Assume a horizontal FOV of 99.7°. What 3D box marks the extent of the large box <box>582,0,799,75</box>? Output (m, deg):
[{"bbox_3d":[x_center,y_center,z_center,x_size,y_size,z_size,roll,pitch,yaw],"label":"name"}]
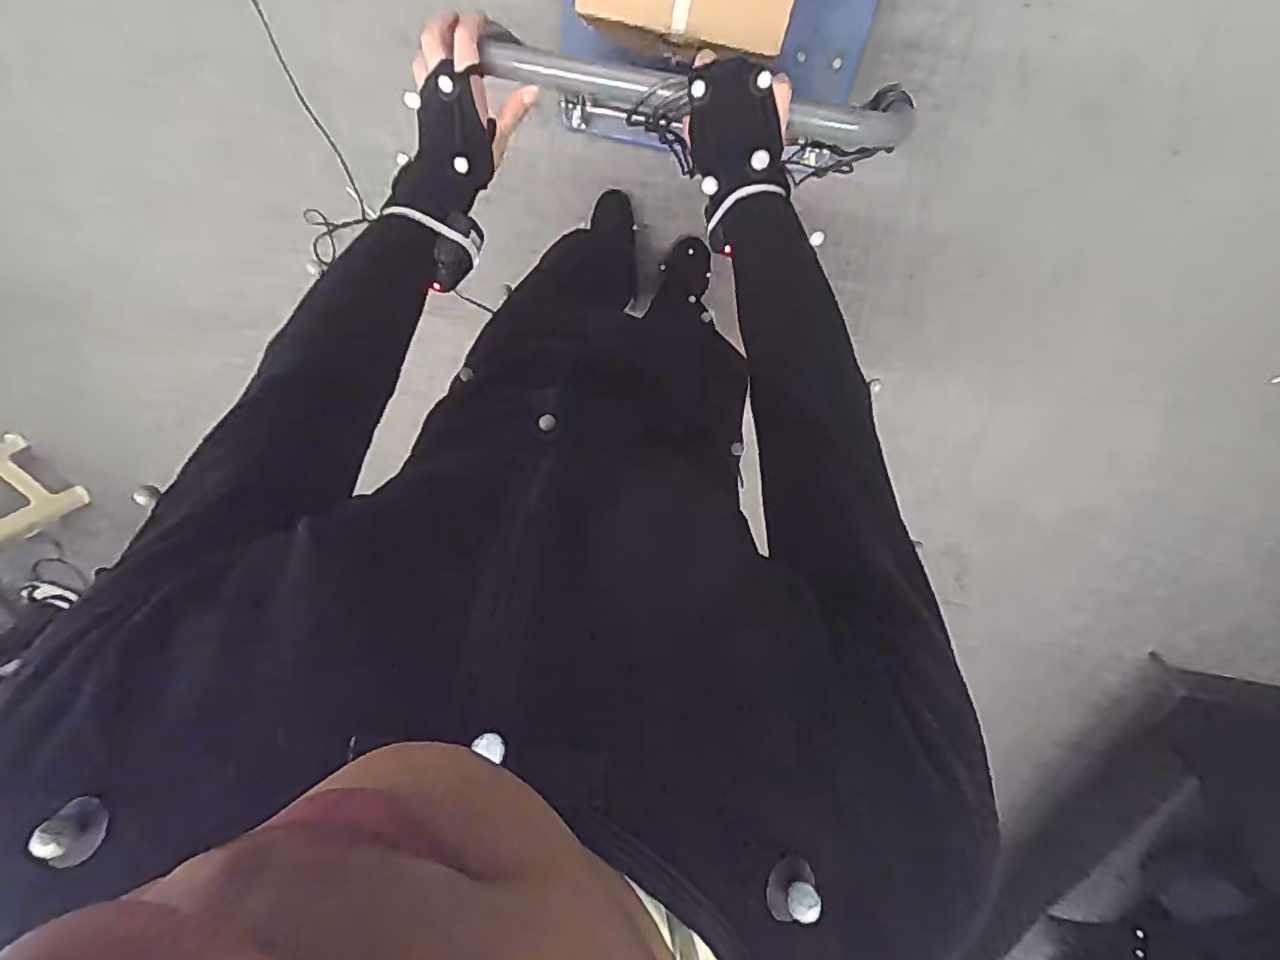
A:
[{"bbox_3d":[0.119,-0.895,0.807,0.320,0.320,0.408,14,122,0],"label":"large box"}]
